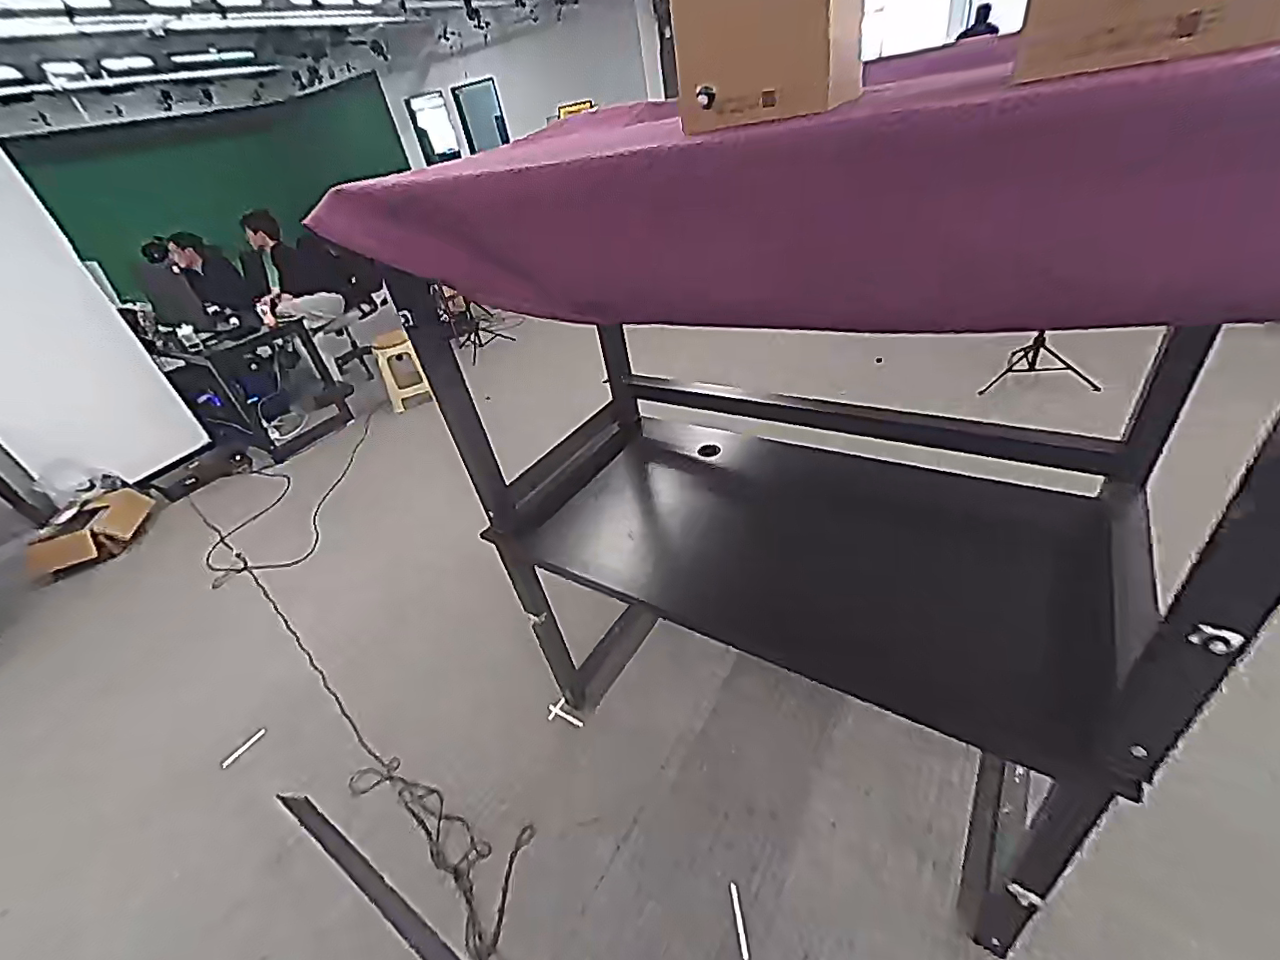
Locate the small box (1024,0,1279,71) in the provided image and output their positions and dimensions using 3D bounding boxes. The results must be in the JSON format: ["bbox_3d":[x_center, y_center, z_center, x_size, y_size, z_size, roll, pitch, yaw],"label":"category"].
[{"bbox_3d":[0.407,-0.420,0.397,0.168,0.176,0.179,16,43,35],"label":"small box"}]

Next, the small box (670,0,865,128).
[{"bbox_3d":[0.144,-0.496,0.585,0.168,0.176,0.179,10,40,28],"label":"small box"}]
